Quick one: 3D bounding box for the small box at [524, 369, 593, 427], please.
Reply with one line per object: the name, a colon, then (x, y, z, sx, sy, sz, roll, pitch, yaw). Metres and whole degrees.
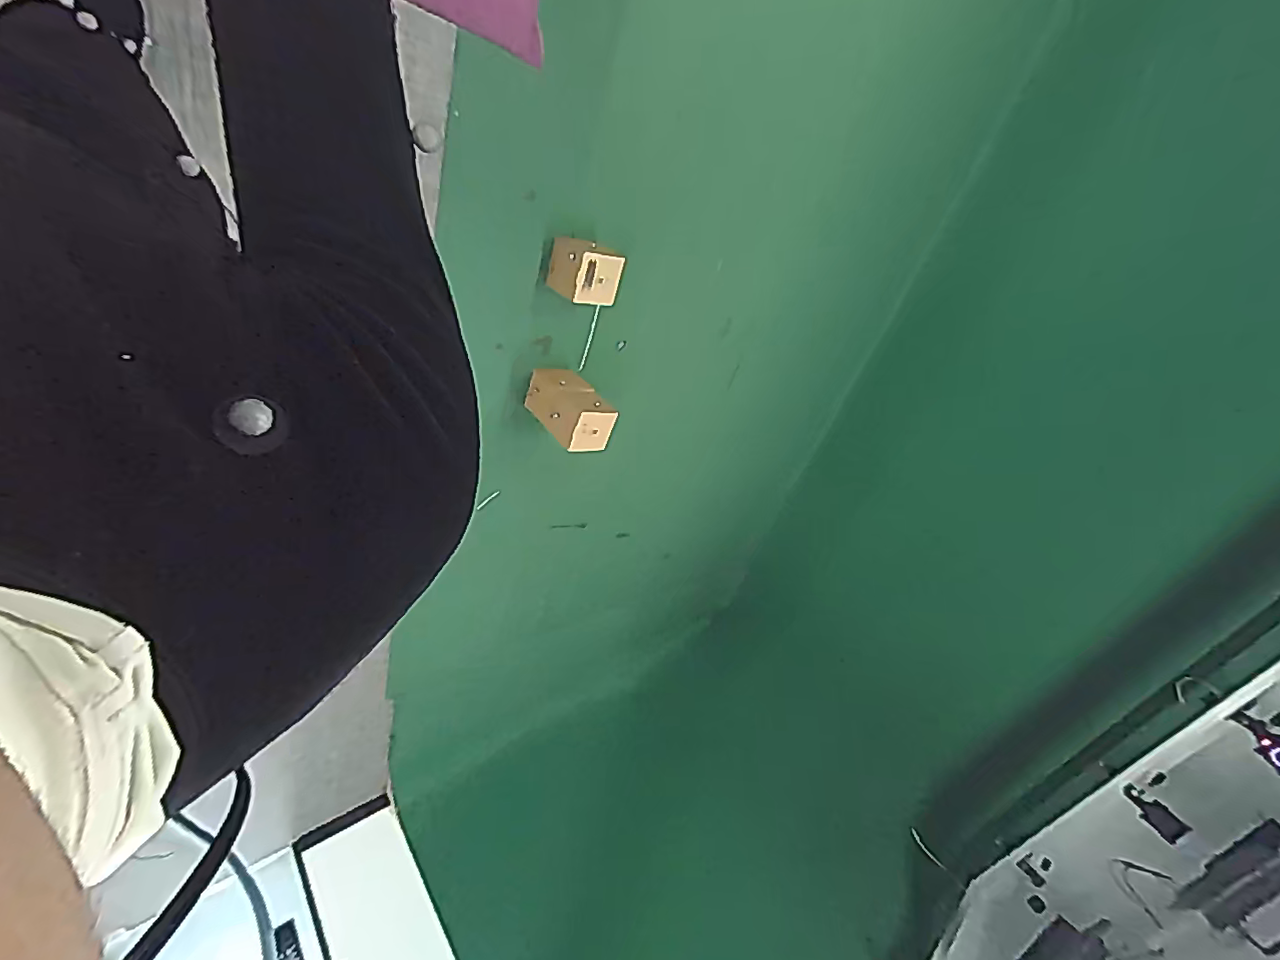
small box: (-0.319, -0.317, 2.093, 0.179, 0.176, 0.168, -7, 130, -44)

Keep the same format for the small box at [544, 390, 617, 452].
small box: (-0.223, -0.220, 2.002, 0.179, 0.176, 0.168, -5, 129, -45)
